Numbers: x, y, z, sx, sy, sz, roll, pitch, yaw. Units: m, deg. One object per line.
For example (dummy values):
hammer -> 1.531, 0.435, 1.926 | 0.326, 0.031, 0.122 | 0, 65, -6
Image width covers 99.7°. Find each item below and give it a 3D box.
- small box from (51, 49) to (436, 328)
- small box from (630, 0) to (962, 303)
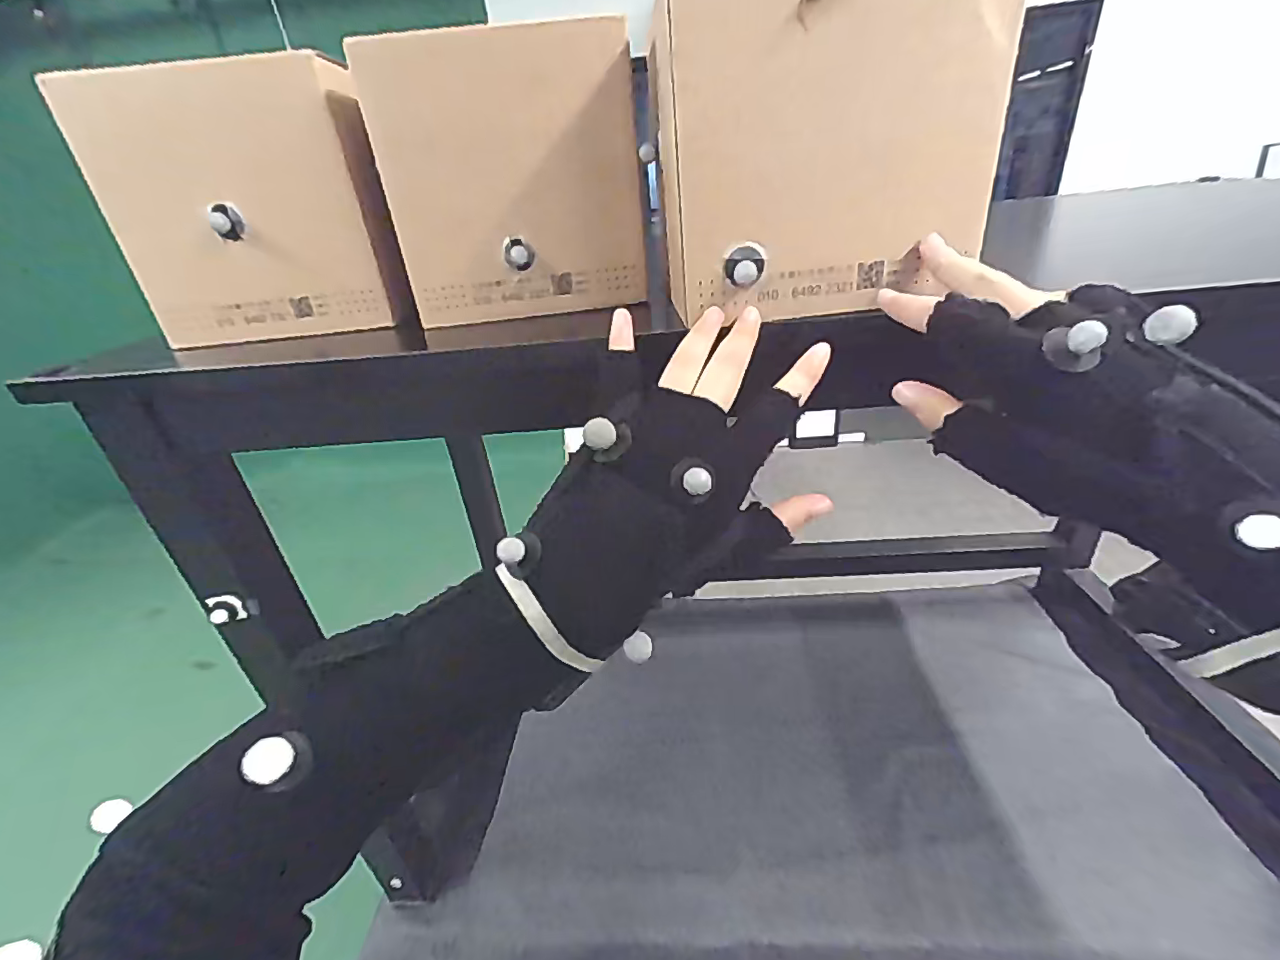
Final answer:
small box -> -0.287, -0.227, 0.449 | 0.168, 0.176, 0.179 | -5, 28, -2
small box -> 0.084, -0.218, 0.357 | 0.168, 0.176, 0.179 | -6, 27, 1
